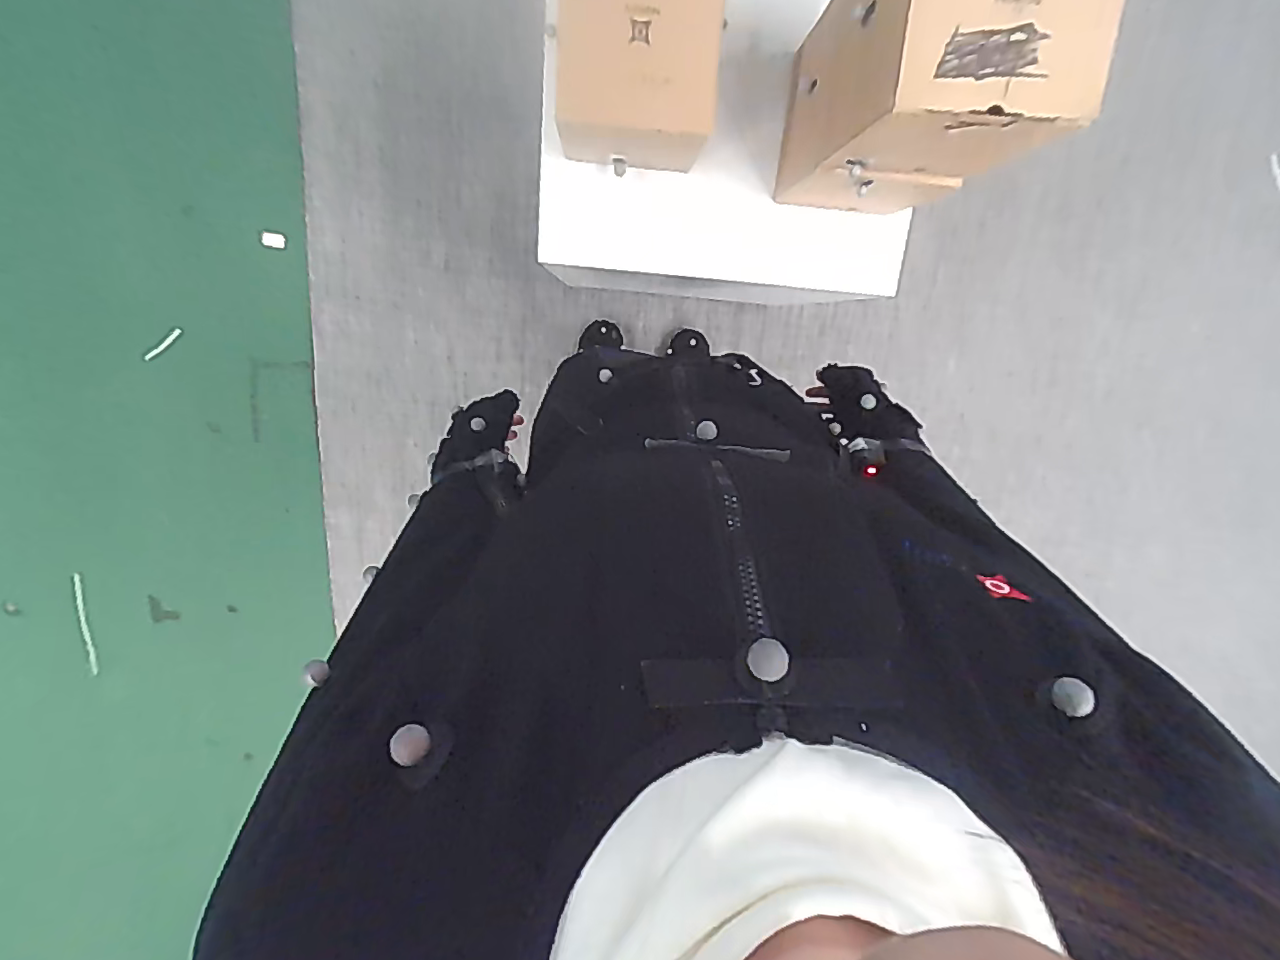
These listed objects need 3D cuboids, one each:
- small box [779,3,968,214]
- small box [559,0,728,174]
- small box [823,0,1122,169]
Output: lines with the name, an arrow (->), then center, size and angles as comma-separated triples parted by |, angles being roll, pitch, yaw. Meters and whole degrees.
small box -> 0.273, -0.430, 0.632 | 0.168, 0.176, 0.179 | 4, 106, -3
small box -> -0.001, -0.469, 0.611 | 0.168, 0.176, 0.179 | 2, 108, -3
small box -> 0.274, -0.390, 0.472 | 0.168, 0.176, 0.179 | 2, 106, -3
